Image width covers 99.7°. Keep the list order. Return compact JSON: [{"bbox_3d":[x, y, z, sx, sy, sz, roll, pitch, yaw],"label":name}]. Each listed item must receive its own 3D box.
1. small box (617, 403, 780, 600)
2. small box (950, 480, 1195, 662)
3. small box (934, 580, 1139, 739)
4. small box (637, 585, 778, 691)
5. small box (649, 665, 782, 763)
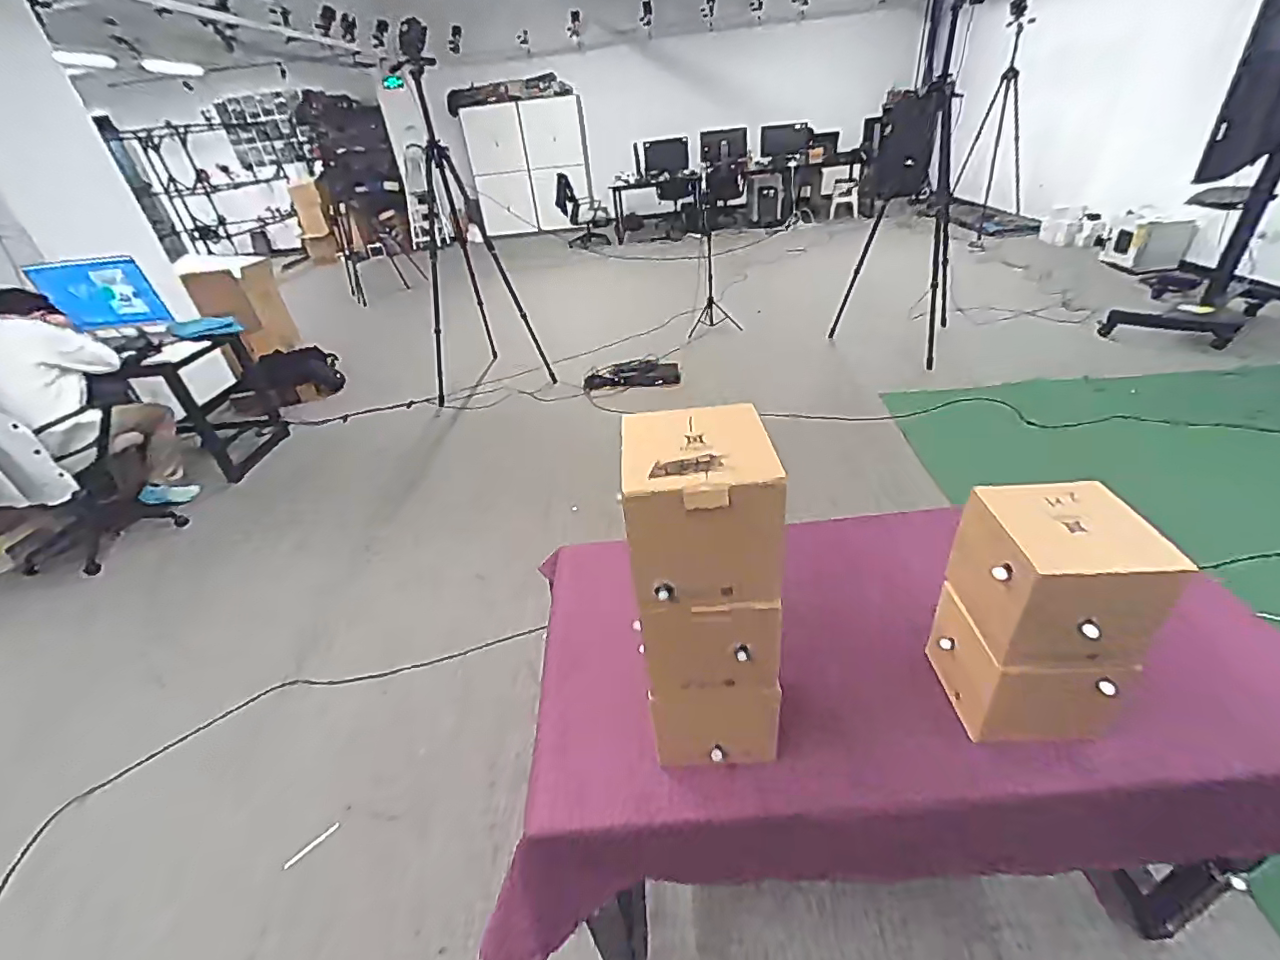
[{"bbox_3d":[0.066,0.028,0.643,0.168,0.176,0.179,-5,33,2],"label":"small box"},{"bbox_3d":[0.538,0.120,0.707,0.168,0.176,0.179,-3,34,6],"label":"small box"},{"bbox_3d":[0.556,0.259,0.794,0.179,0.176,0.168,-4,34,4],"label":"small box"},{"bbox_3d":[0.090,0.166,0.729,0.168,0.176,0.179,-4,33,5],"label":"small box"},{"bbox_3d":[0.106,0.304,0.816,0.179,0.176,0.168,-4,33,4],"label":"small box"}]
